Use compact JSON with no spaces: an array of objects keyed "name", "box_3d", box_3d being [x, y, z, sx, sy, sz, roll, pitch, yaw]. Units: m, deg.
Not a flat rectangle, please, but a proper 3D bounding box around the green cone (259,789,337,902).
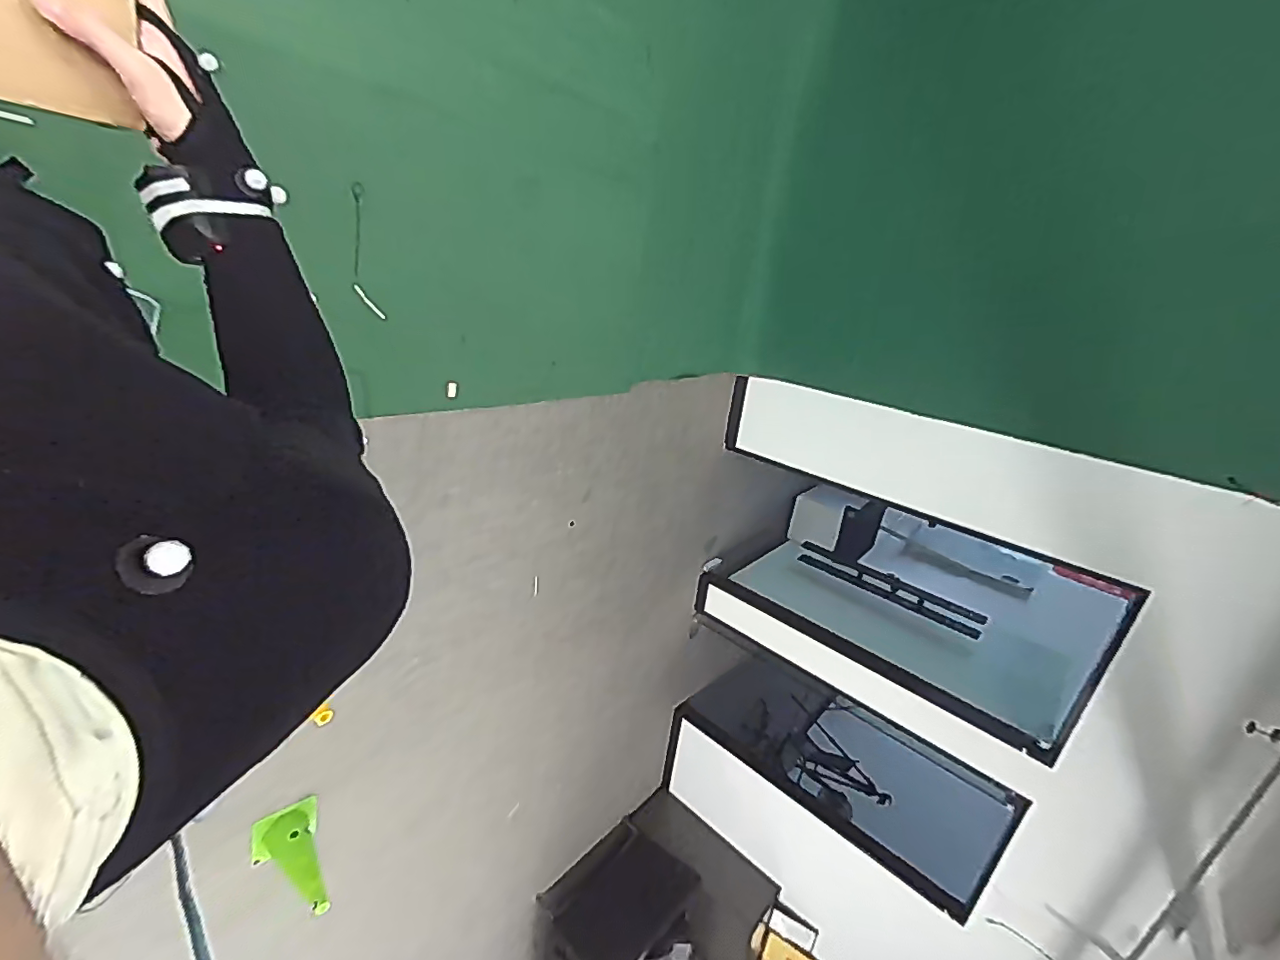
[{"name":"green cone","box_3d":[-1.126,1.286,1.845,0.200,0.368,0.202,-10,115,-49]}]
